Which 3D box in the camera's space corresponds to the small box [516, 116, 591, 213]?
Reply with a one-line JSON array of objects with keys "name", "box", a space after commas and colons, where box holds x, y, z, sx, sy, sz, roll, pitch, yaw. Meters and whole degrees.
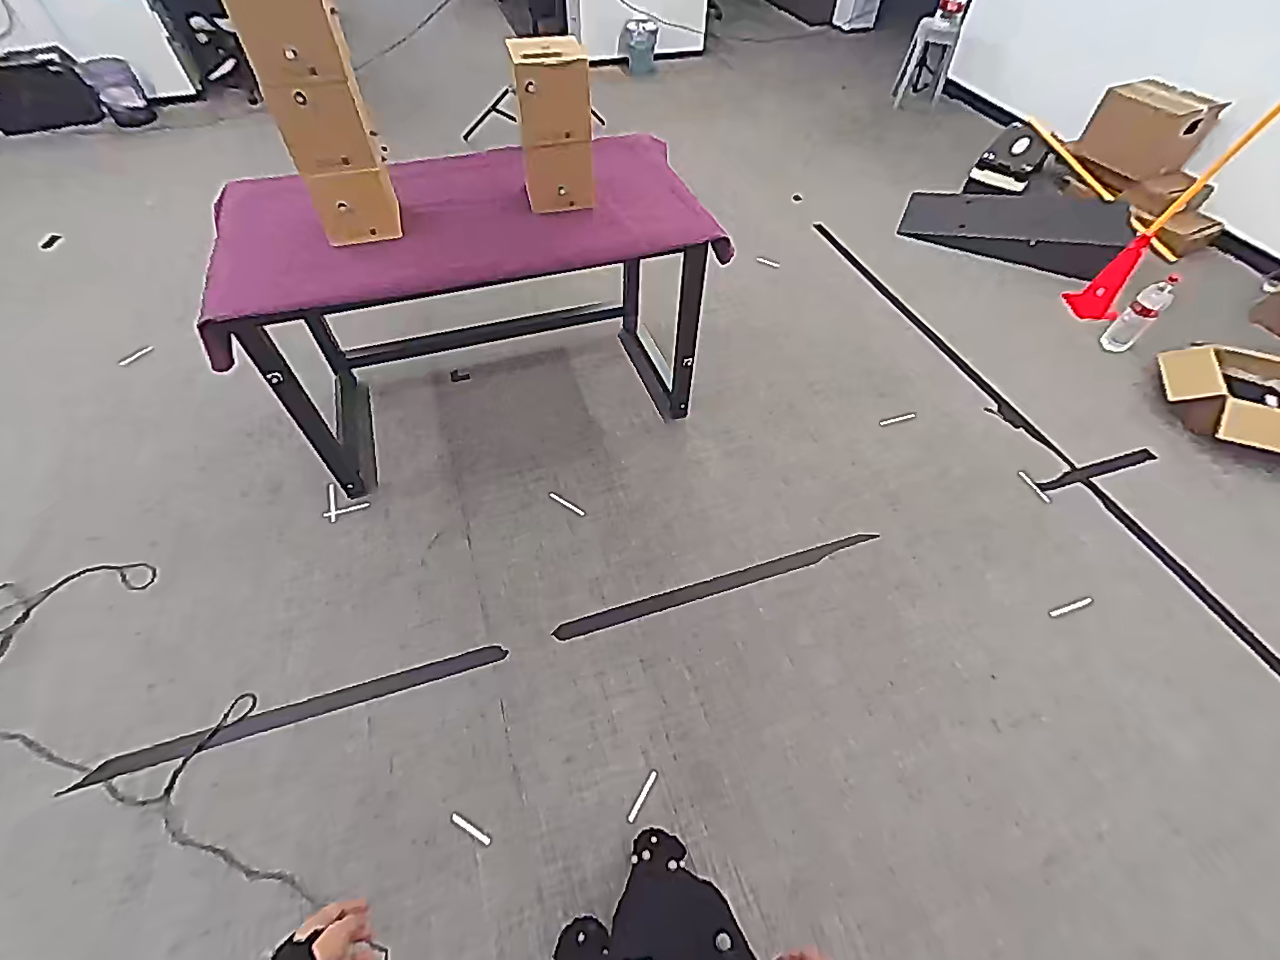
[{"name": "small box", "box": [-0.226, -0.832, 1.428, 0.168, 0.176, 0.179, -11, 54, -9]}]

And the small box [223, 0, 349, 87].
[{"name": "small box", "box": [-0.686, -0.894, 1.052, 0.168, 0.176, 0.179, -14, 55, -12]}]

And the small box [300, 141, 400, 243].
[{"name": "small box", "box": [-0.697, -0.693, 1.313, 0.168, 0.176, 0.179, -14, 55, -12]}]

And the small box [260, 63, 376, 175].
[{"name": "small box", "box": [-0.695, -0.796, 1.185, 0.168, 0.176, 0.179, -15, 54, -12]}]
